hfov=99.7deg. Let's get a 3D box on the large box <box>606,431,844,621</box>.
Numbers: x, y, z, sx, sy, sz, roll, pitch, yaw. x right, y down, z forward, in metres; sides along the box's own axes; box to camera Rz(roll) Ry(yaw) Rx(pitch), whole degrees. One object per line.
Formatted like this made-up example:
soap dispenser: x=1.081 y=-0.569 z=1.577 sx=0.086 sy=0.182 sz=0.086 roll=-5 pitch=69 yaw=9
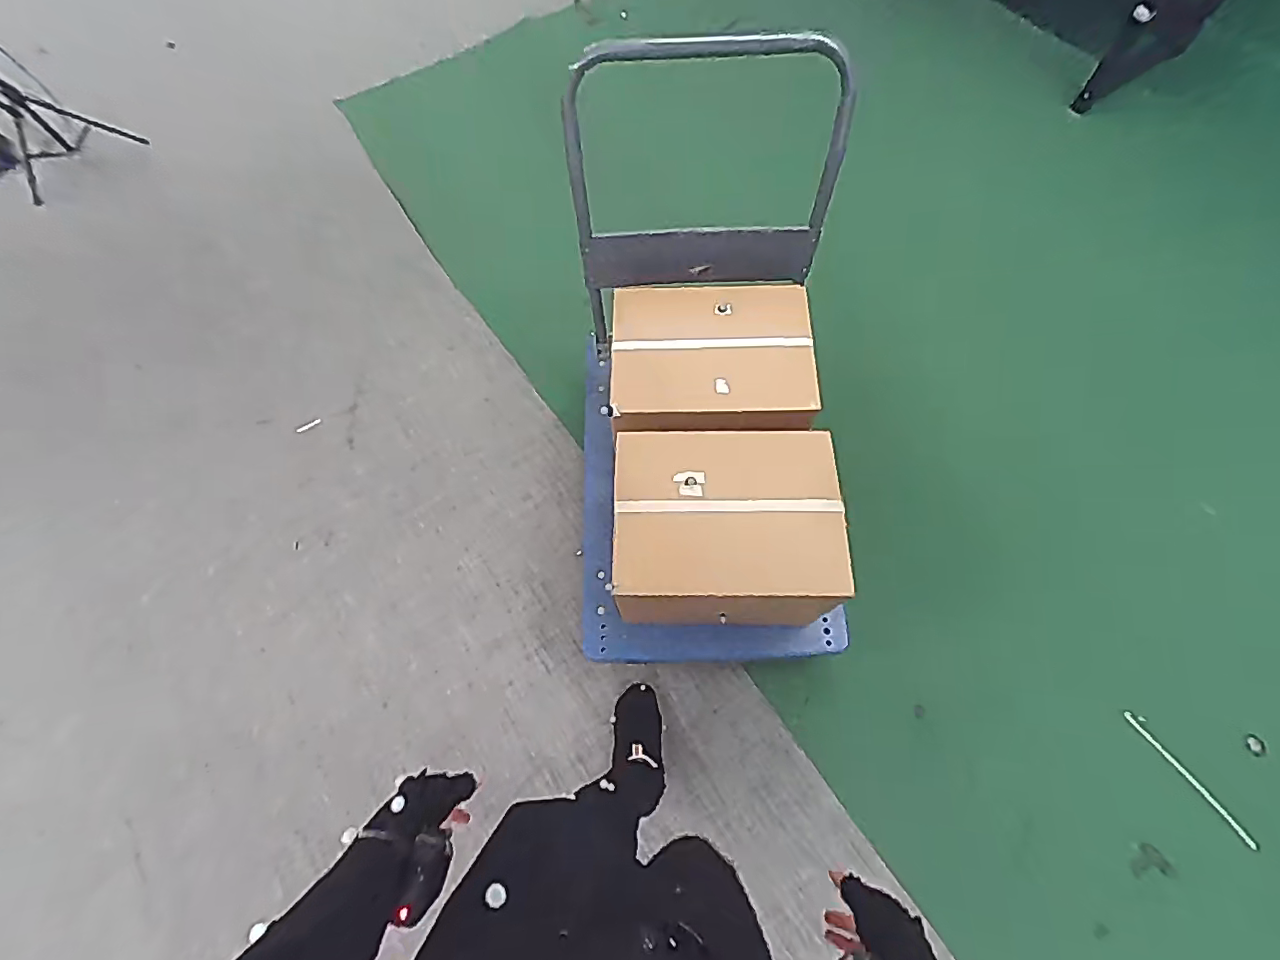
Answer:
large box: x=0.149 y=0.110 z=1.093 sx=0.408 sy=0.320 sz=0.320 roll=0 pitch=66 yaw=3
